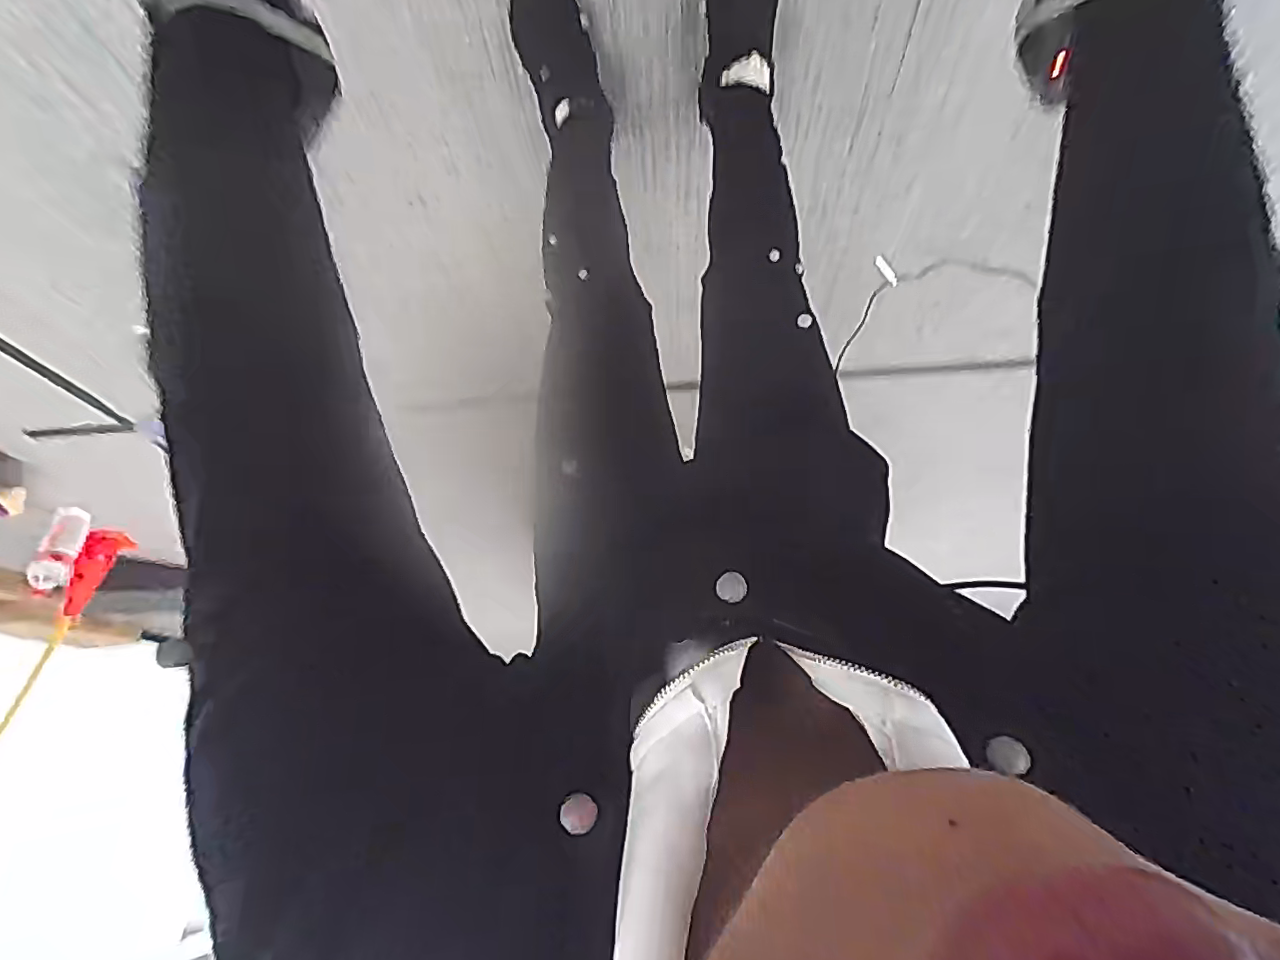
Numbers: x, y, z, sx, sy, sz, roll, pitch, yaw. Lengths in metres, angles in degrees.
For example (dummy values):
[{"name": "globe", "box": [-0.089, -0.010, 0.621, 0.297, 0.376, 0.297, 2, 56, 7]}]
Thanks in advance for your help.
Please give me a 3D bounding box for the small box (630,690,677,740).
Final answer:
[{"name": "small box", "box": [0.052, 0.937, 2.155, 0.179, 0.176, 0.168, -3, 152, 1]}]
